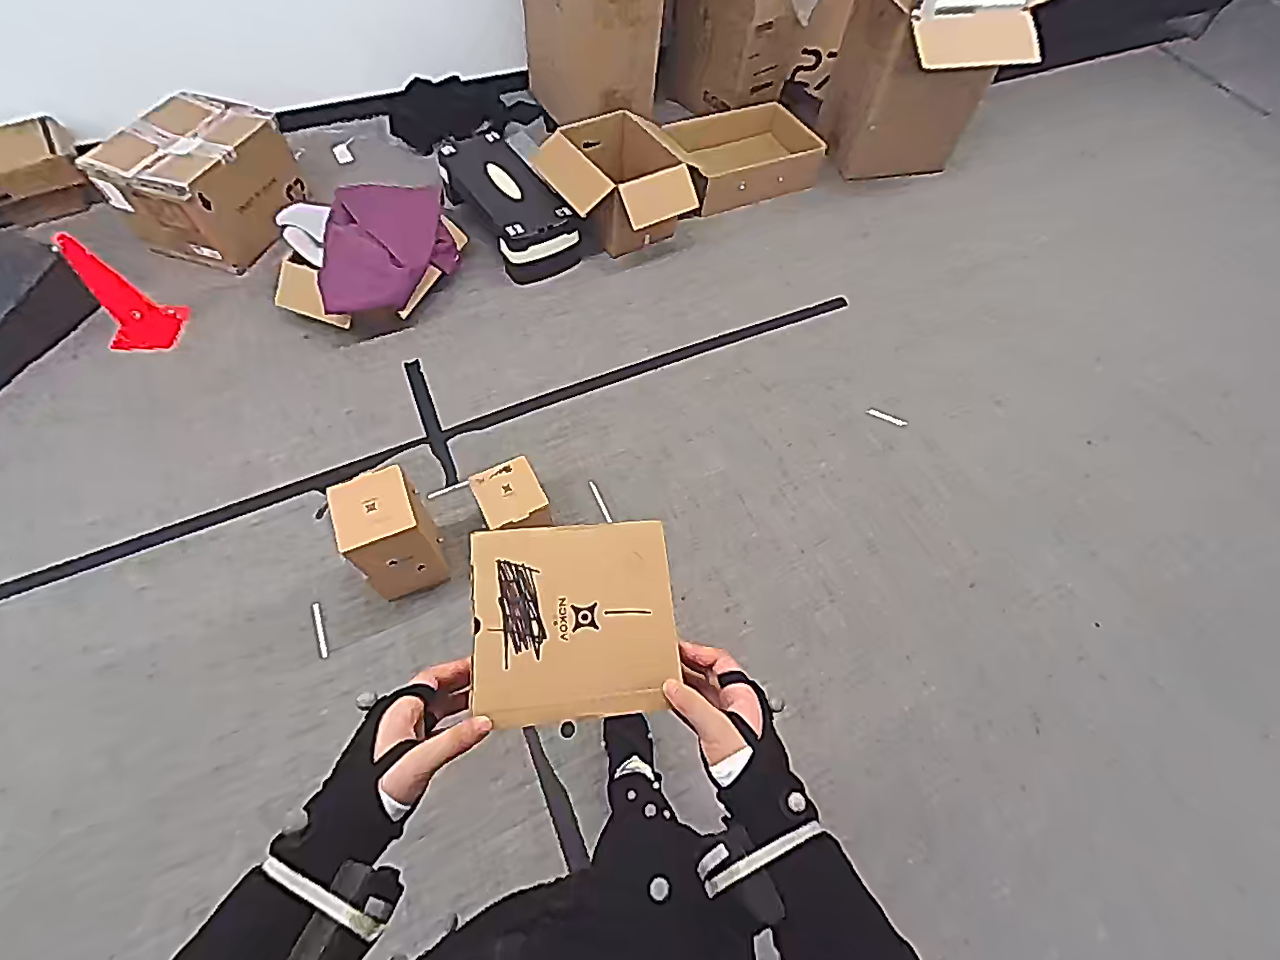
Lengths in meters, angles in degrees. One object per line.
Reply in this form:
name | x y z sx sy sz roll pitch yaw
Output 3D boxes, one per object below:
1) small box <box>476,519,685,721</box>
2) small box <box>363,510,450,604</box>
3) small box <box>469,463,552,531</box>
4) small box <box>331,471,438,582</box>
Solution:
small box | -0.063 0.147 0.551 0.179 0.176 0.168 -4 69 -9
small box | -0.613 0.201 1.418 0.179 0.176 0.168 -20 63 -14
small box | -0.352 0.088 1.504 0.168 0.176 0.179 -24 65 -17
small box | -0.600 0.113 1.281 0.168 0.176 0.179 -22 65 -14
